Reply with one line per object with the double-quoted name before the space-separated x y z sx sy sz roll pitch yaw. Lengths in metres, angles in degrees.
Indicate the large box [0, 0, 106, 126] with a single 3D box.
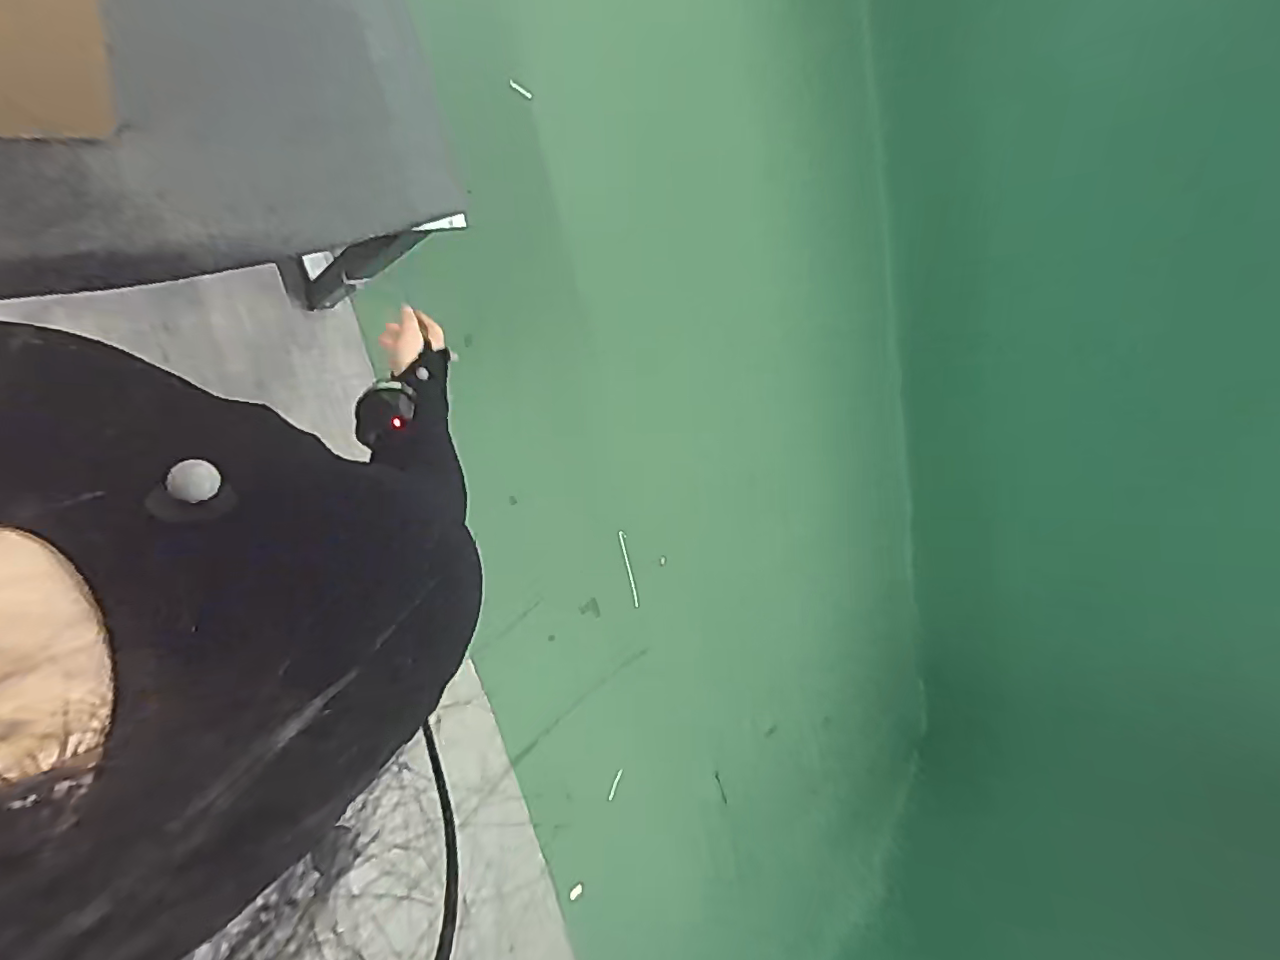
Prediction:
"large box" -0.627 -0.425 0.290 0.408 0.320 0.320 -28 112 -38
